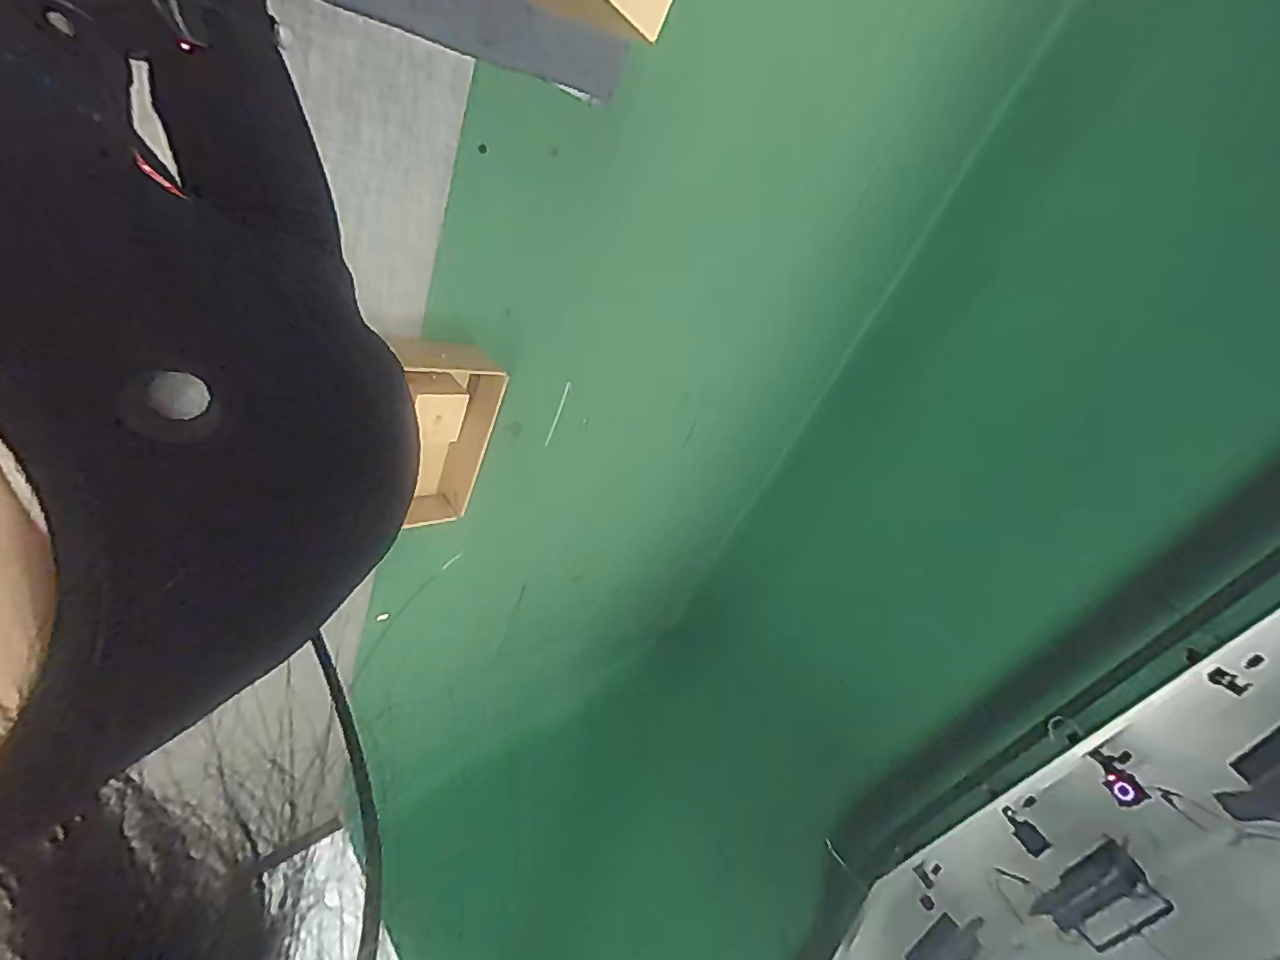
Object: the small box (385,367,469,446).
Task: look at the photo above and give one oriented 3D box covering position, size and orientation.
[{"bbox_3d":[-0.649,-0.225,1.633,0.168,0.176,0.179,-8,135,-47],"label":"small box"}]
